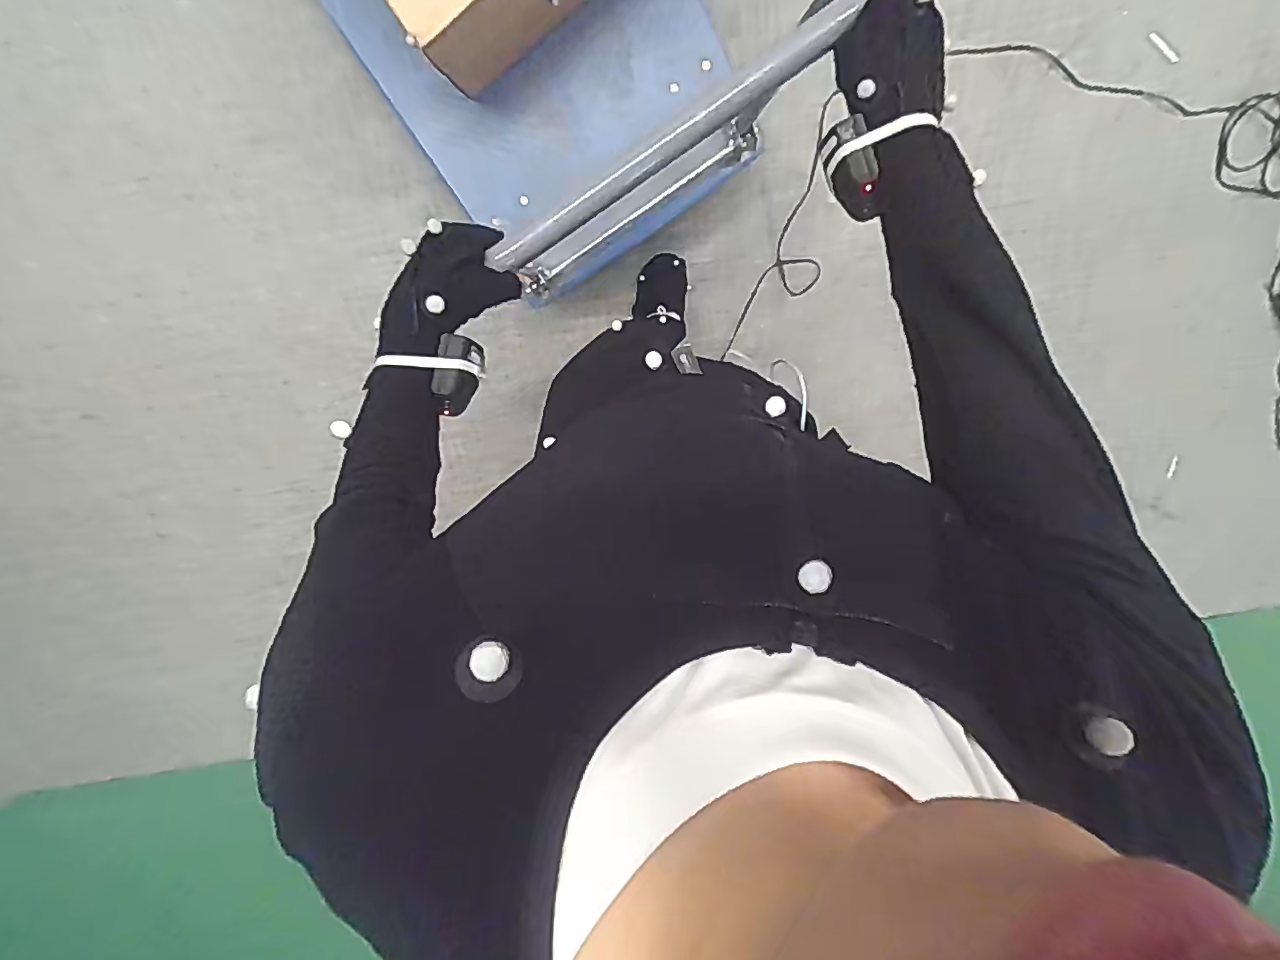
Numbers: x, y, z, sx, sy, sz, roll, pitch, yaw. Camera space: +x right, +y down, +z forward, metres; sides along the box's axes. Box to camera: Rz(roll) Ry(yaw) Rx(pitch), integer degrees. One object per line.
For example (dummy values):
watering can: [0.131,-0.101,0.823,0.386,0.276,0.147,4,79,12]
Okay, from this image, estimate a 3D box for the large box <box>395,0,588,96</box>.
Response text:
large box: [-0.219,-0.872,0.789,0.408,0.320,0.320,-33,111,12]
